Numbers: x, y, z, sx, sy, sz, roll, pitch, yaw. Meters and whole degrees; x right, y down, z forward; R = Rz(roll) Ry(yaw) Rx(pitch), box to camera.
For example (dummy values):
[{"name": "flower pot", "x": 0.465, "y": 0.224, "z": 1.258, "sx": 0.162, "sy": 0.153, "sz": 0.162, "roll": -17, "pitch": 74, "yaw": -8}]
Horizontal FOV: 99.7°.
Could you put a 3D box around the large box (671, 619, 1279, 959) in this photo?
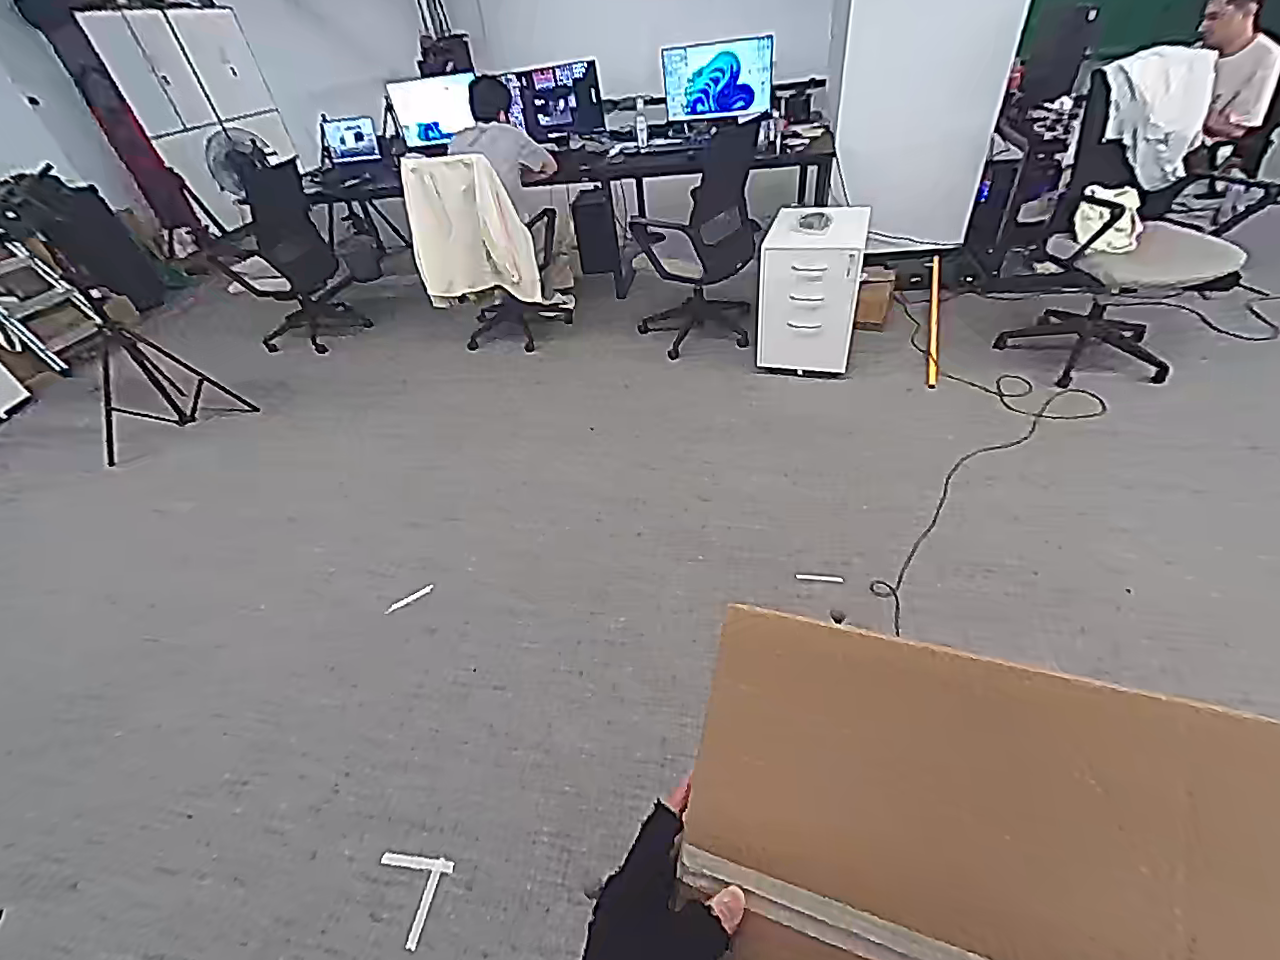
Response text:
[{"name": "large box", "x": 0.260, "y": 0.304, "z": 0.403, "sx": 0.408, "sy": 0.320, "sz": 0.320, "roll": 8, "pitch": 77, "yaw": 22}]
